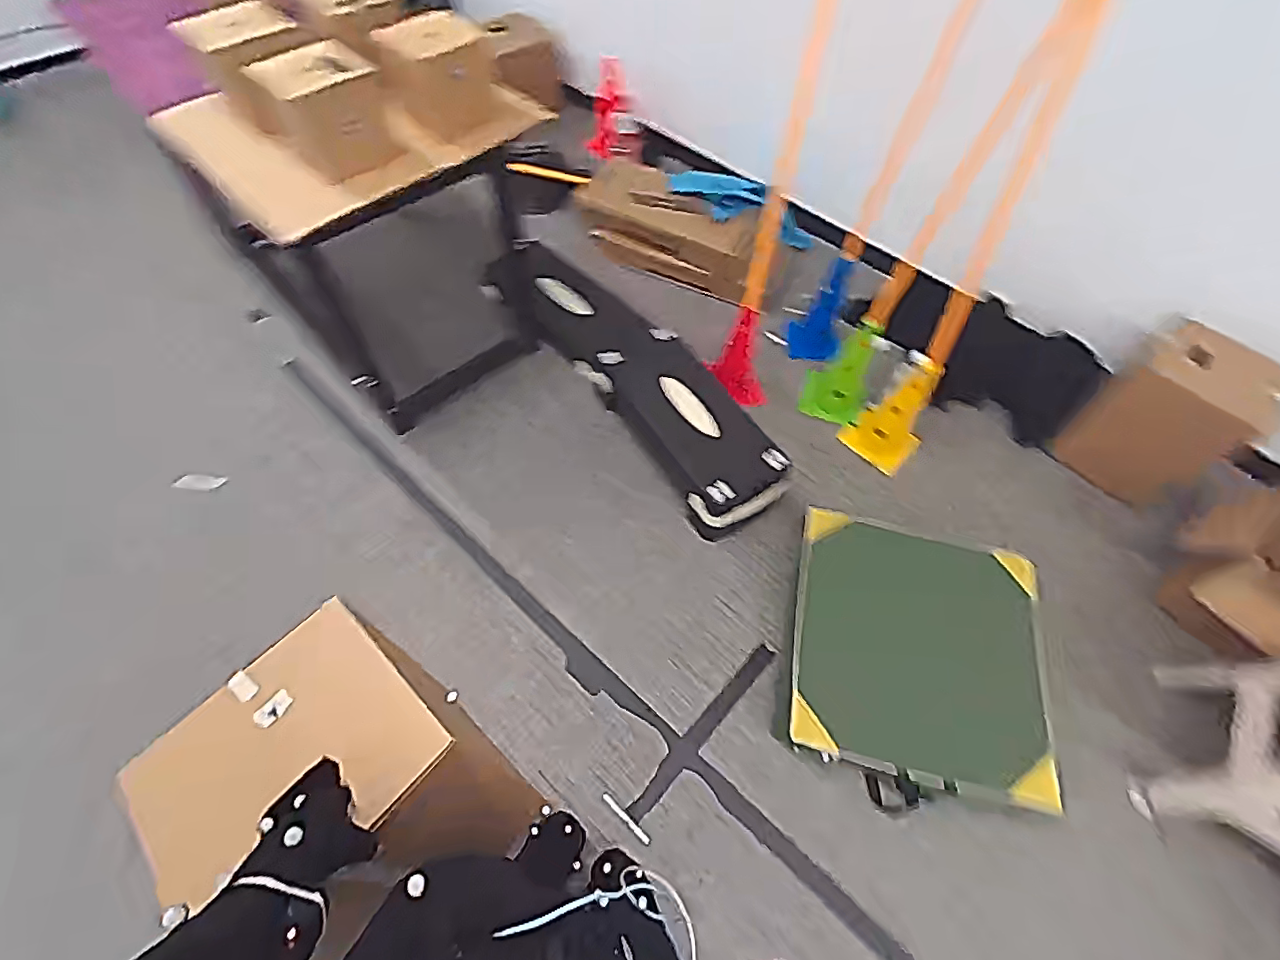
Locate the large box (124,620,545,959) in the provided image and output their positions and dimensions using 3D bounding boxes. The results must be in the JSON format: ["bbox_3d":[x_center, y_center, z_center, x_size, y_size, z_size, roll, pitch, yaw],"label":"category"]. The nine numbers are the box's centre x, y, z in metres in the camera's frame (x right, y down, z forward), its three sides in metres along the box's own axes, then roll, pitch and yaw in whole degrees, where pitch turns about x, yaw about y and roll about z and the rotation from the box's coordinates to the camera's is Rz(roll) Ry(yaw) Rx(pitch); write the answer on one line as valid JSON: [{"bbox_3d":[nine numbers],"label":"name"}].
[{"bbox_3d":[-0.403,0.478,0.801,0.320,0.408,0.320,32,63,30],"label":"large box"}]
